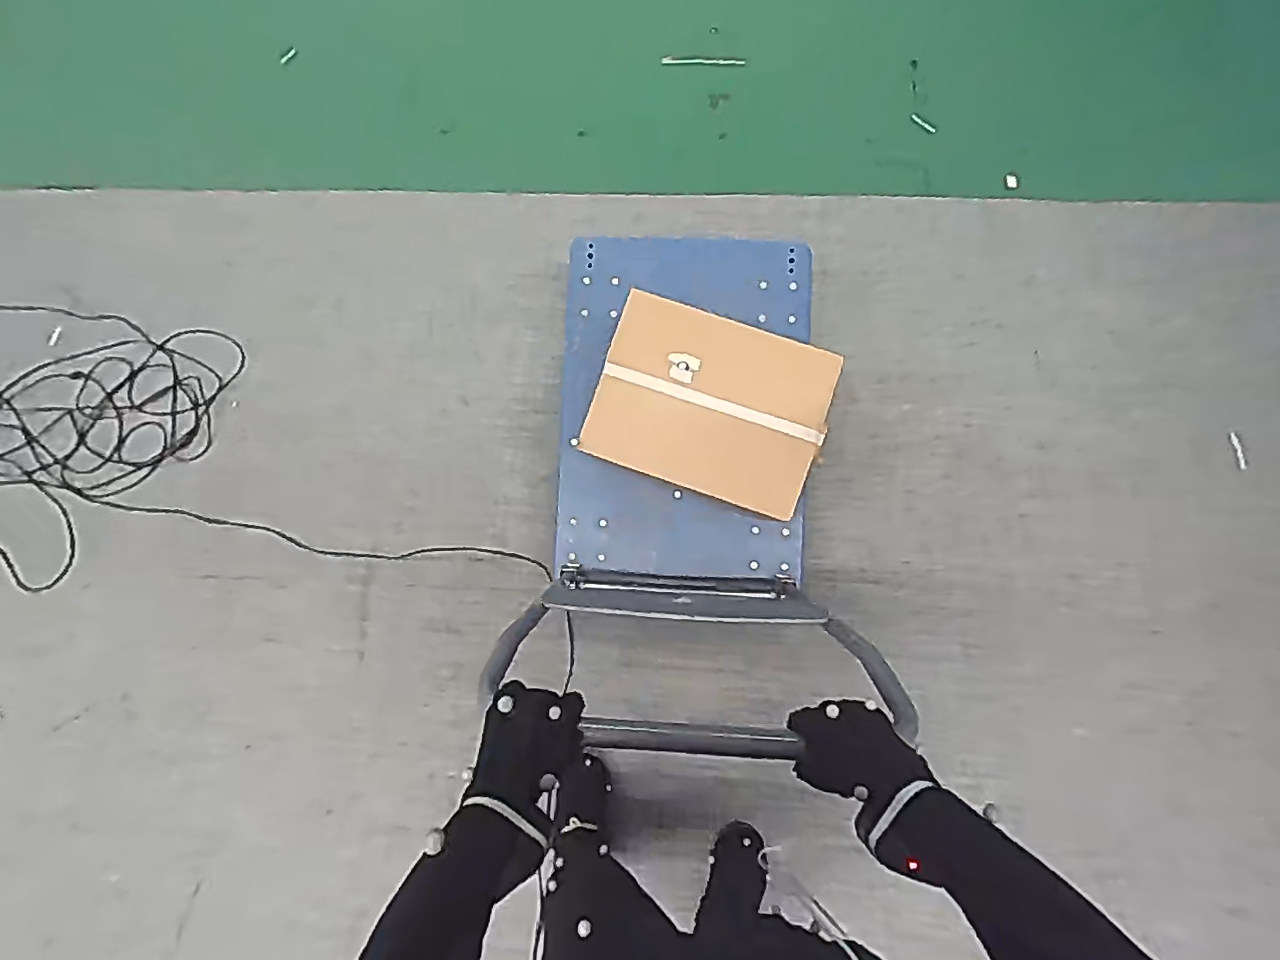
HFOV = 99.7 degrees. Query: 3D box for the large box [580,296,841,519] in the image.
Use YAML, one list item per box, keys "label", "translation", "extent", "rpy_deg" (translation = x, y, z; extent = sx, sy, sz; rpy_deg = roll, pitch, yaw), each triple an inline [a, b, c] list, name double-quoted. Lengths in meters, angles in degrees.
- label: "large box"
  translation: [0.136, -0.127, 1.111]
  extent: [0.408, 0.320, 0.320]
  rpy_deg: [18, 88, 5]
